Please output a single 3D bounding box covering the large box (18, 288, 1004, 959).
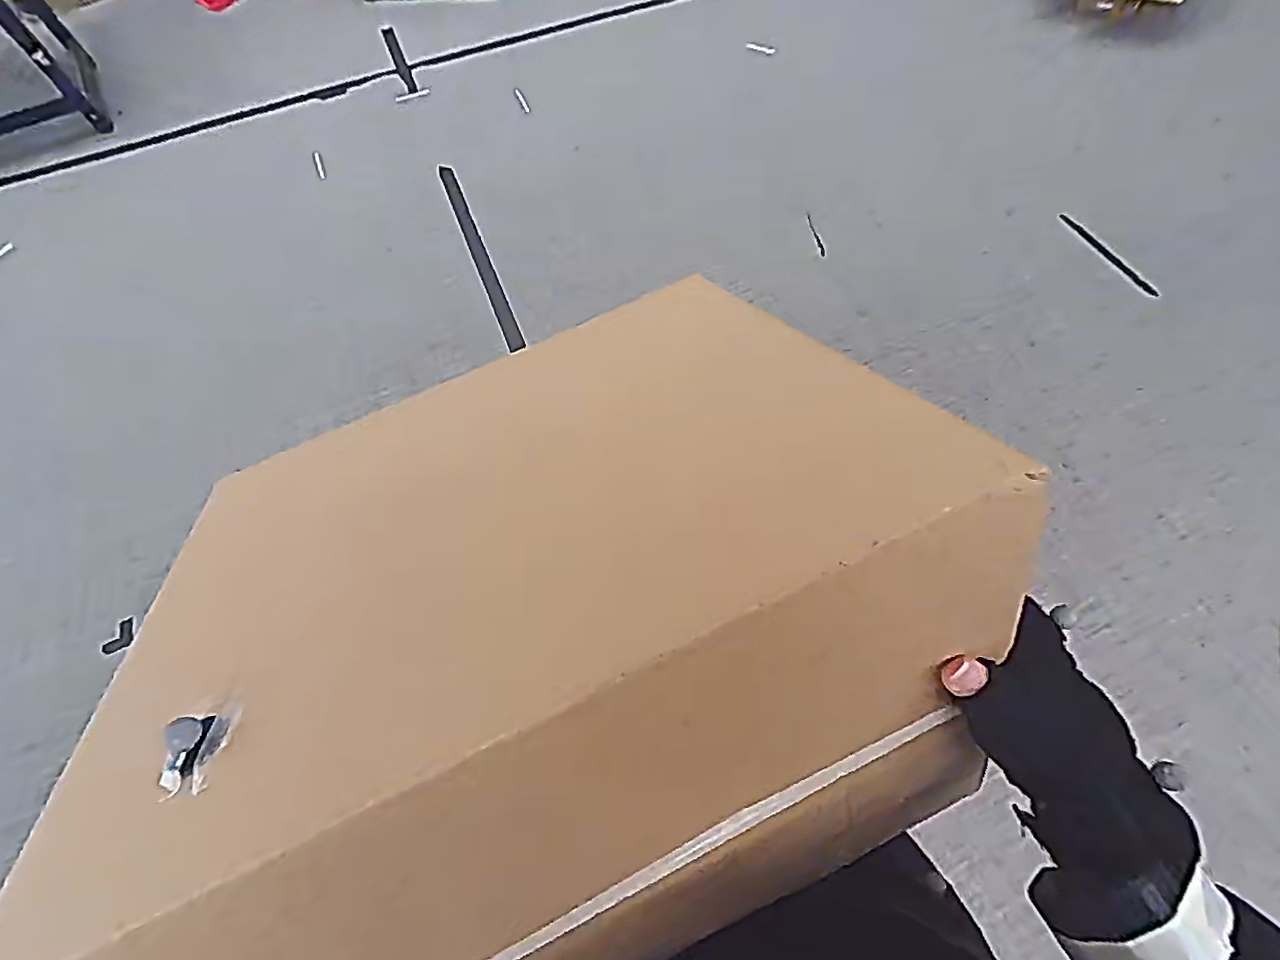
[{"bbox_3d":[-0.039,0.110,0.402,0.408,0.320,0.320,-26,38,-5],"label":"large box"}]
